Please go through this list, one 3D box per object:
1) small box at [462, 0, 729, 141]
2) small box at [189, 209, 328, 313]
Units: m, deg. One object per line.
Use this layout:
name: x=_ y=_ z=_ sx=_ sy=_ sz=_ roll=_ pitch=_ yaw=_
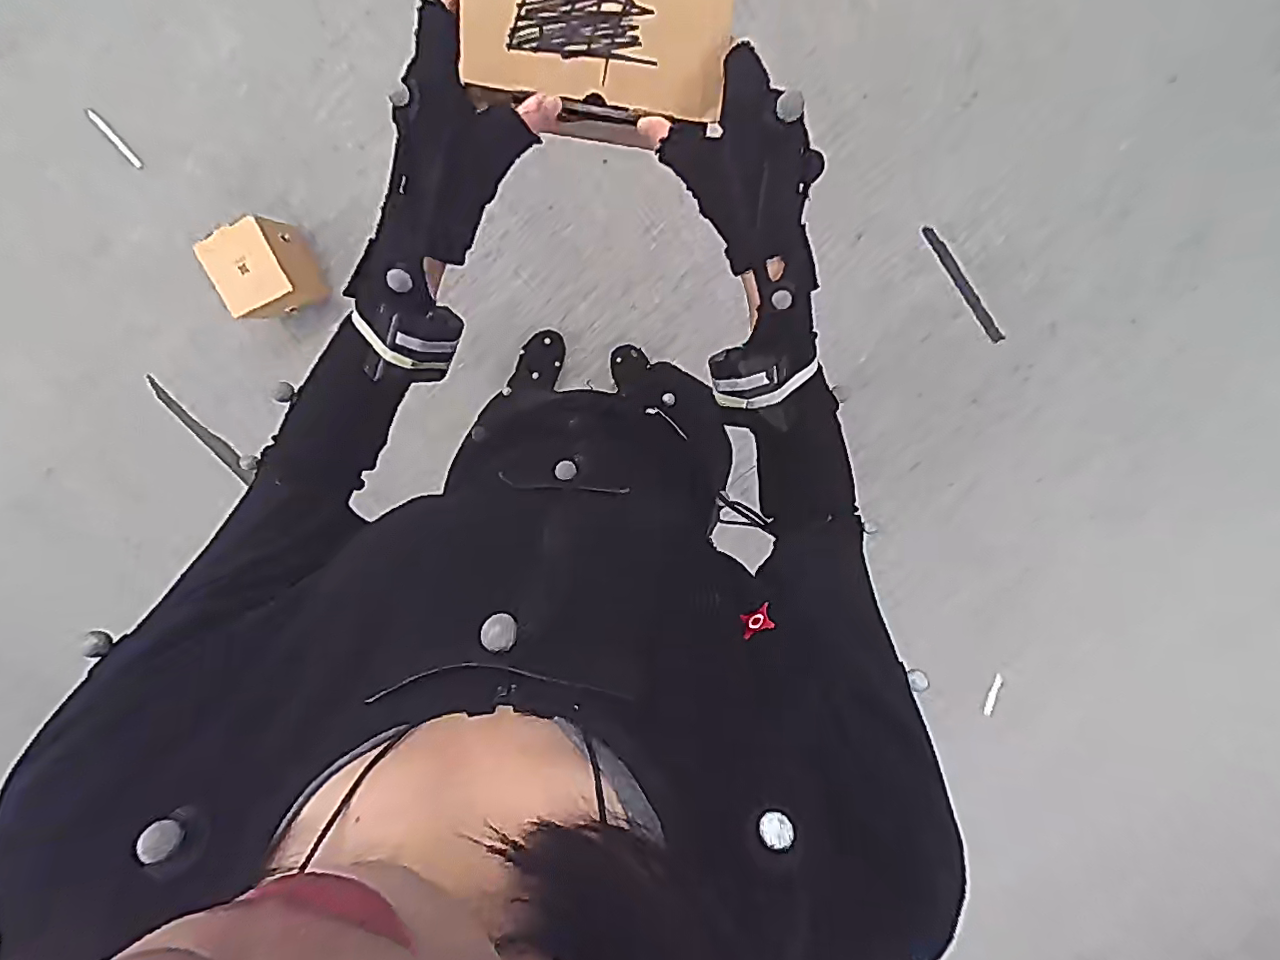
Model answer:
small box: x=-0.032 y=-0.361 z=0.388 sx=0.168 sy=0.176 sz=0.179 roll=2 pitch=116 yaw=-12
small box: x=-0.900 y=-0.512 z=1.294 sx=0.168 sy=0.176 sz=0.179 roll=-22 pitch=105 yaw=6
